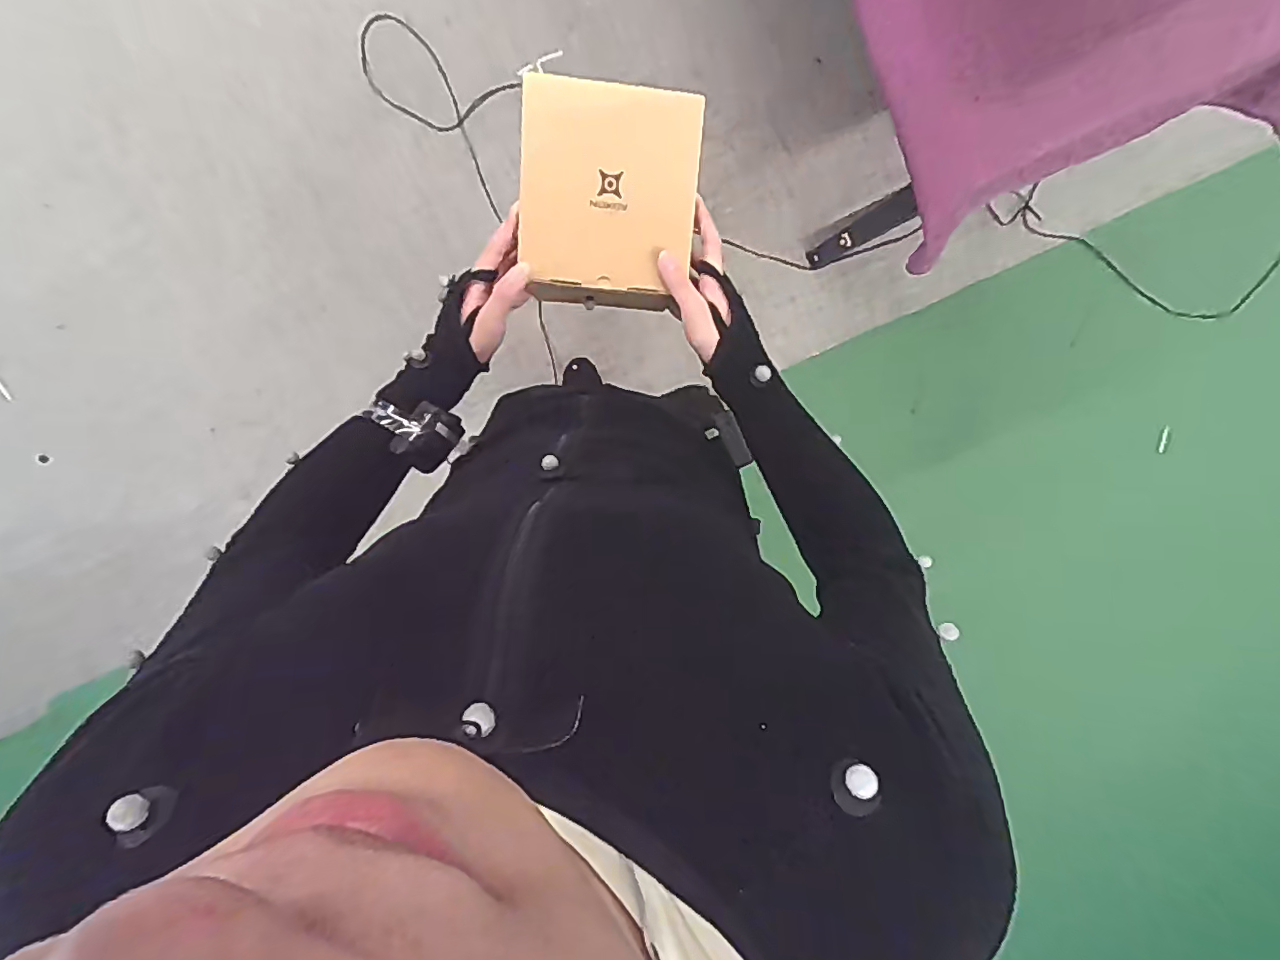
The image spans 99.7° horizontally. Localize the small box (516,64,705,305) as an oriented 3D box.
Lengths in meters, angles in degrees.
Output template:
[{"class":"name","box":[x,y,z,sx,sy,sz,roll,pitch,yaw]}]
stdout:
[{"class":"small box","box":[-0.037,-0.289,0.571,0.168,0.176,0.179,3,104,-7]}]
